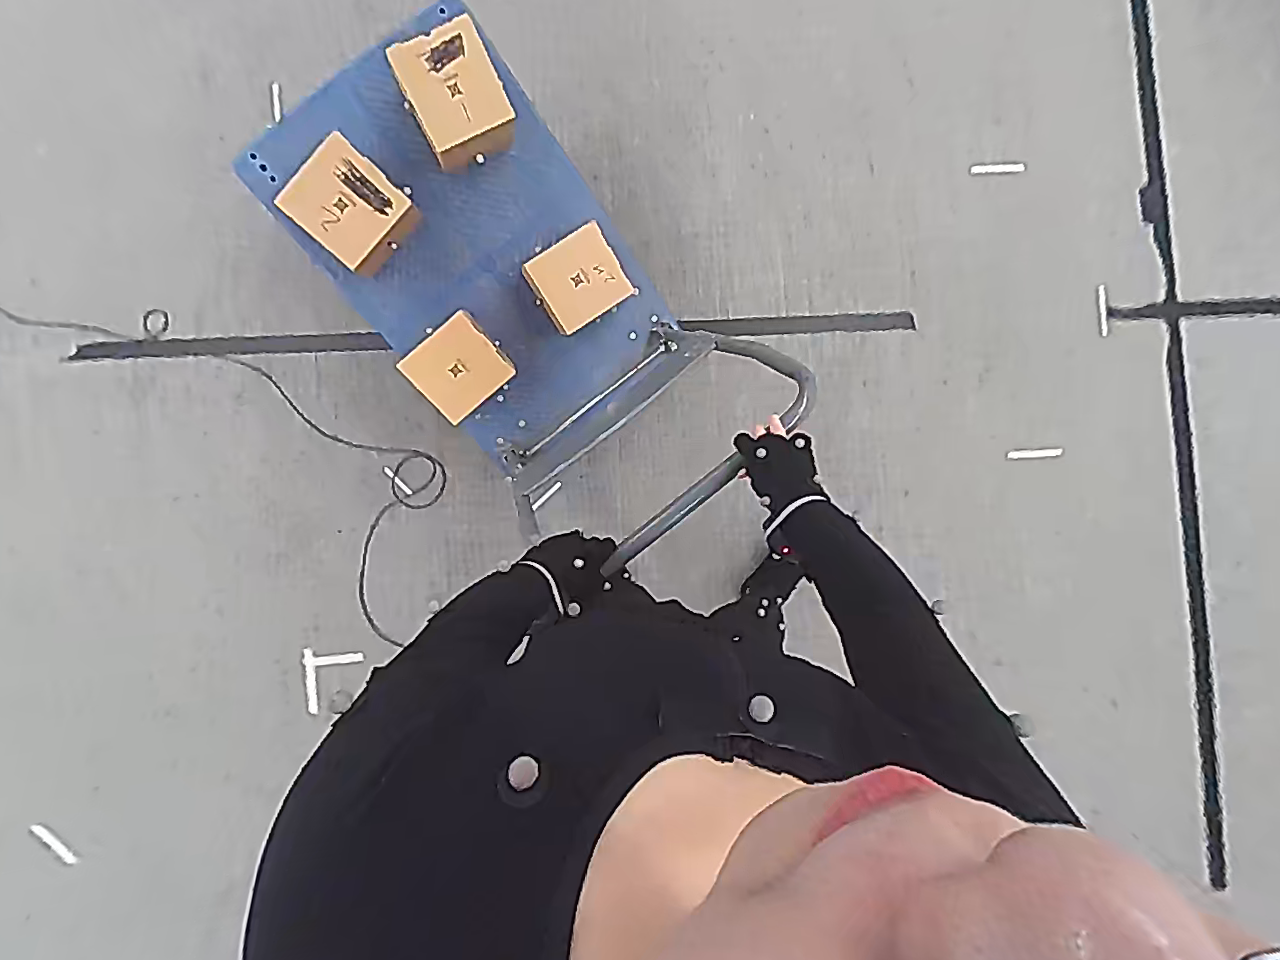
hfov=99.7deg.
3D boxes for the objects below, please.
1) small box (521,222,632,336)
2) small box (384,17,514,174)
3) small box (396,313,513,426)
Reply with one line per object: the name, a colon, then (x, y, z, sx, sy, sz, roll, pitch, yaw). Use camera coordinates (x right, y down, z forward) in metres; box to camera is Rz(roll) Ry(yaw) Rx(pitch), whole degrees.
small box: (-0.145, -0.435, 1.196, 0.179, 0.176, 0.168, -34, 111, -3)
small box: (-0.364, -0.735, 1.055, 0.168, 0.176, 0.179, -29, 112, -5)
small box: (-0.397, -0.243, 1.187, 0.179, 0.176, 0.168, -42, 111, -2)
